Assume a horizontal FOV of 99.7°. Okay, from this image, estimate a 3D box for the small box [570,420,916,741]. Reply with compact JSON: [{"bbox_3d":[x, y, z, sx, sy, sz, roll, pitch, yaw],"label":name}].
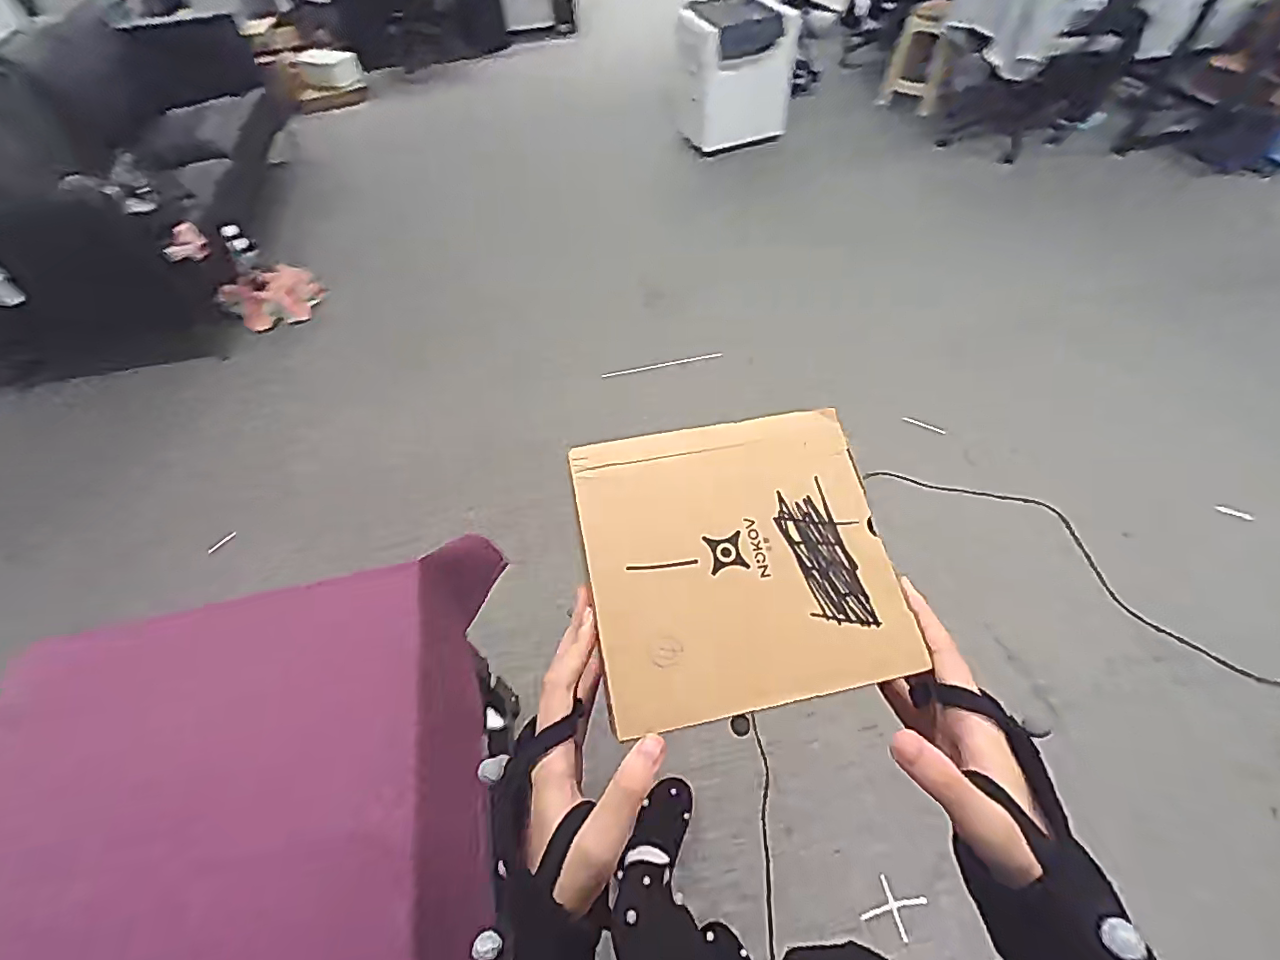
[{"bbox_3d":[0.049,0.077,0.387,0.179,0.176,0.168,-9,68,-7],"label":"small box"}]
